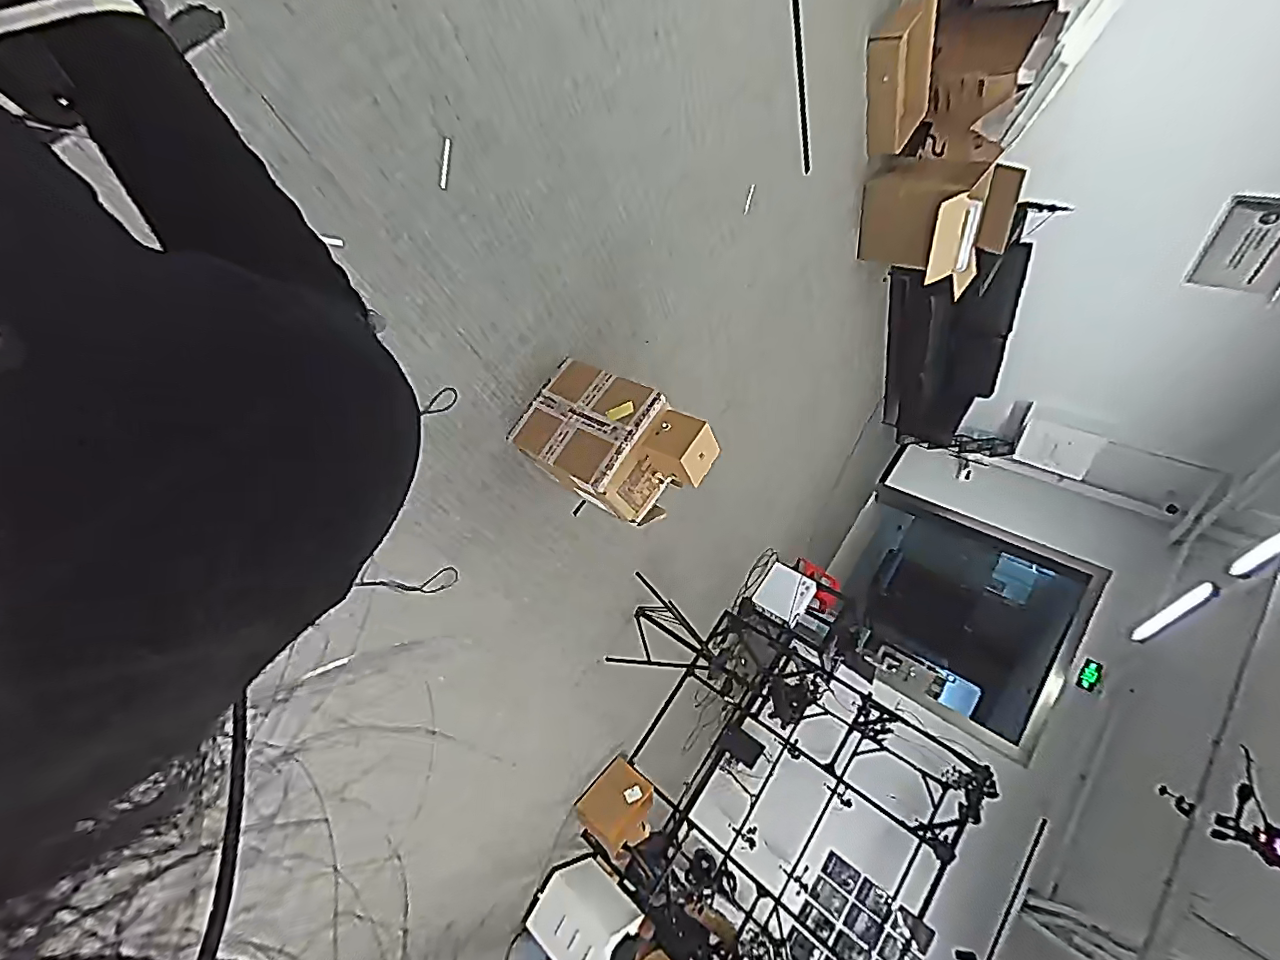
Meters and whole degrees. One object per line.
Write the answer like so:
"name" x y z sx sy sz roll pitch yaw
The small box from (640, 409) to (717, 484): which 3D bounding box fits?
"small box" 0.131 -0.119 1.835 0.168 0.176 0.179 -55 142 -15
